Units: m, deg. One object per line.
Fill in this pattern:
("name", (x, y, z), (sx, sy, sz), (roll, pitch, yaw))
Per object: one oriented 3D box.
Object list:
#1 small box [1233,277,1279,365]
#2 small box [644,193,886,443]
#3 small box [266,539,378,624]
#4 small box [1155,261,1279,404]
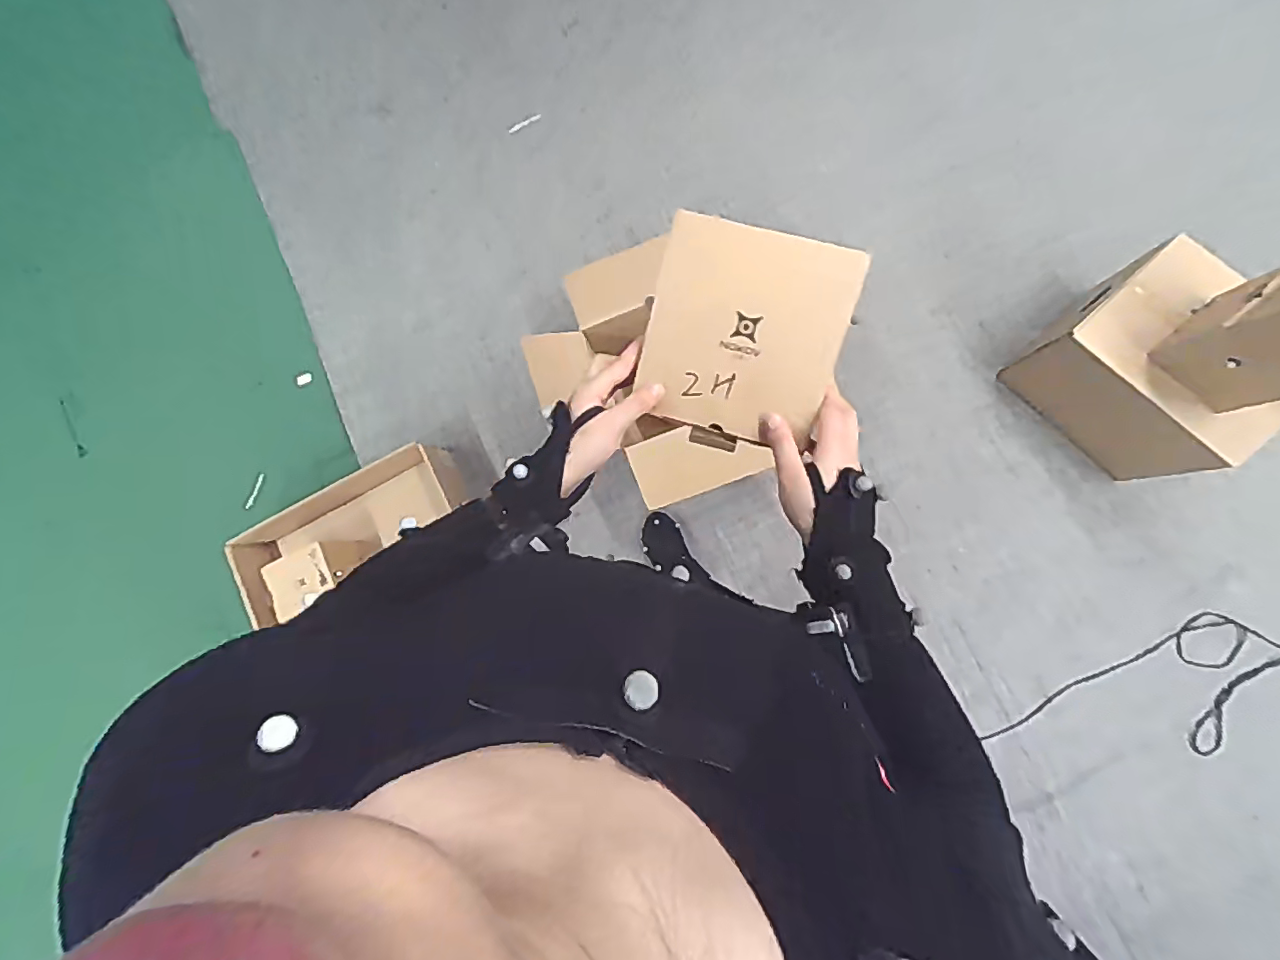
("small box", (1.126, -0.271, 0.842), (0.168, 0.176, 0.179), (-43, 80, 3))
("small box", (0.114, -0.155, 0.543), (0.168, 0.176, 0.179), (17, 106, 6))
("small box", (-0.853, 0.270, 1.462), (0.179, 0.176, 0.168), (-26, 81, 4))
("small box", (1.140, -0.266, 1.005), (0.168, 0.176, 0.179), (-43, 81, 3))
